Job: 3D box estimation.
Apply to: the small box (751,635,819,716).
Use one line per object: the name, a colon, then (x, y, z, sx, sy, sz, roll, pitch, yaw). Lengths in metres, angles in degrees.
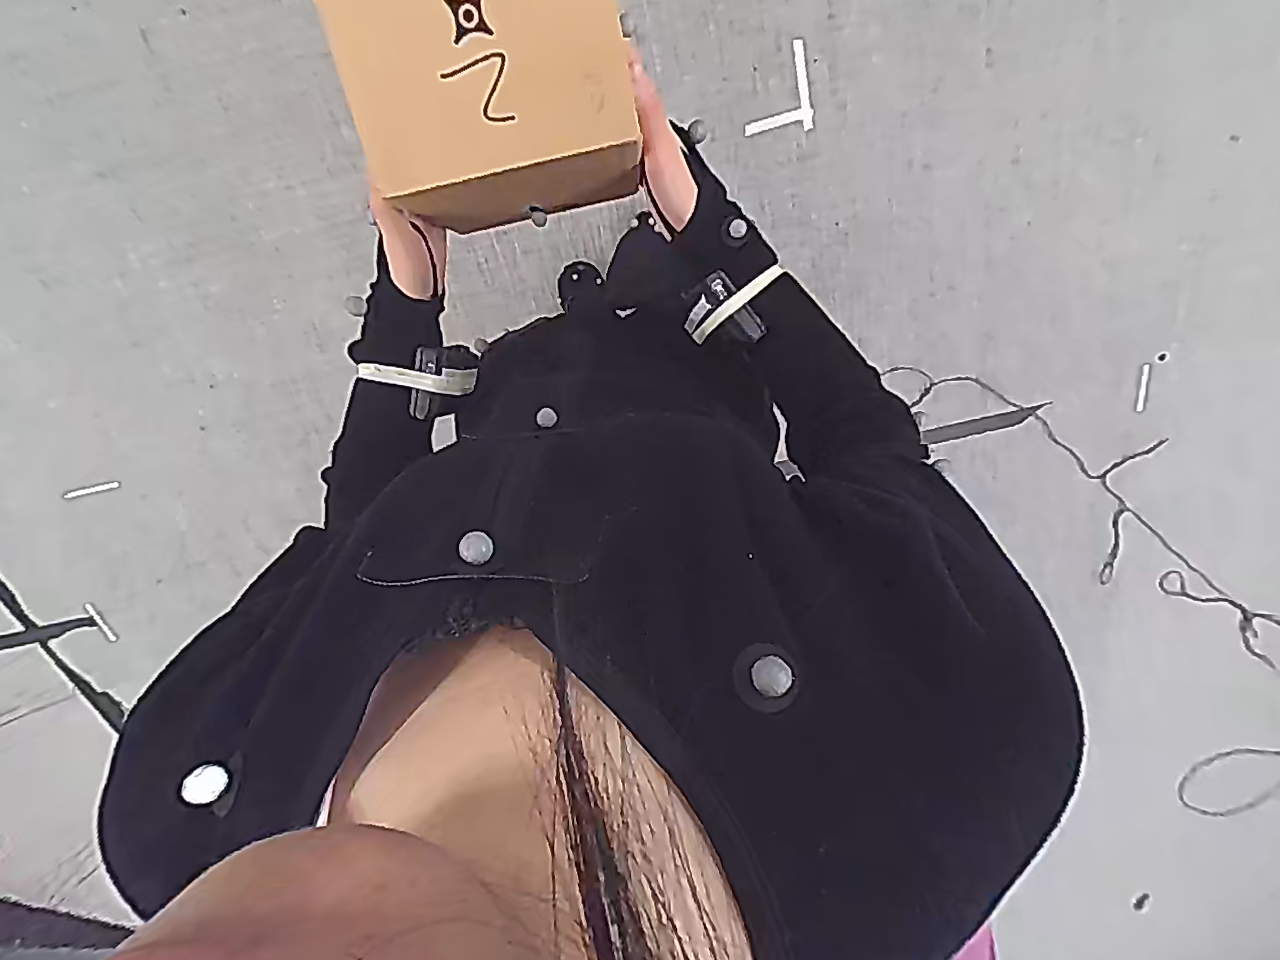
small box: (0.467, 0.626, 1.759, 0.168, 0.176, 0.179, -12, 114, 1)

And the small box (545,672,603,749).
small box: (-0.214, 0.745, 1.755, 0.179, 0.176, 0.168, 2, 112, -7)
